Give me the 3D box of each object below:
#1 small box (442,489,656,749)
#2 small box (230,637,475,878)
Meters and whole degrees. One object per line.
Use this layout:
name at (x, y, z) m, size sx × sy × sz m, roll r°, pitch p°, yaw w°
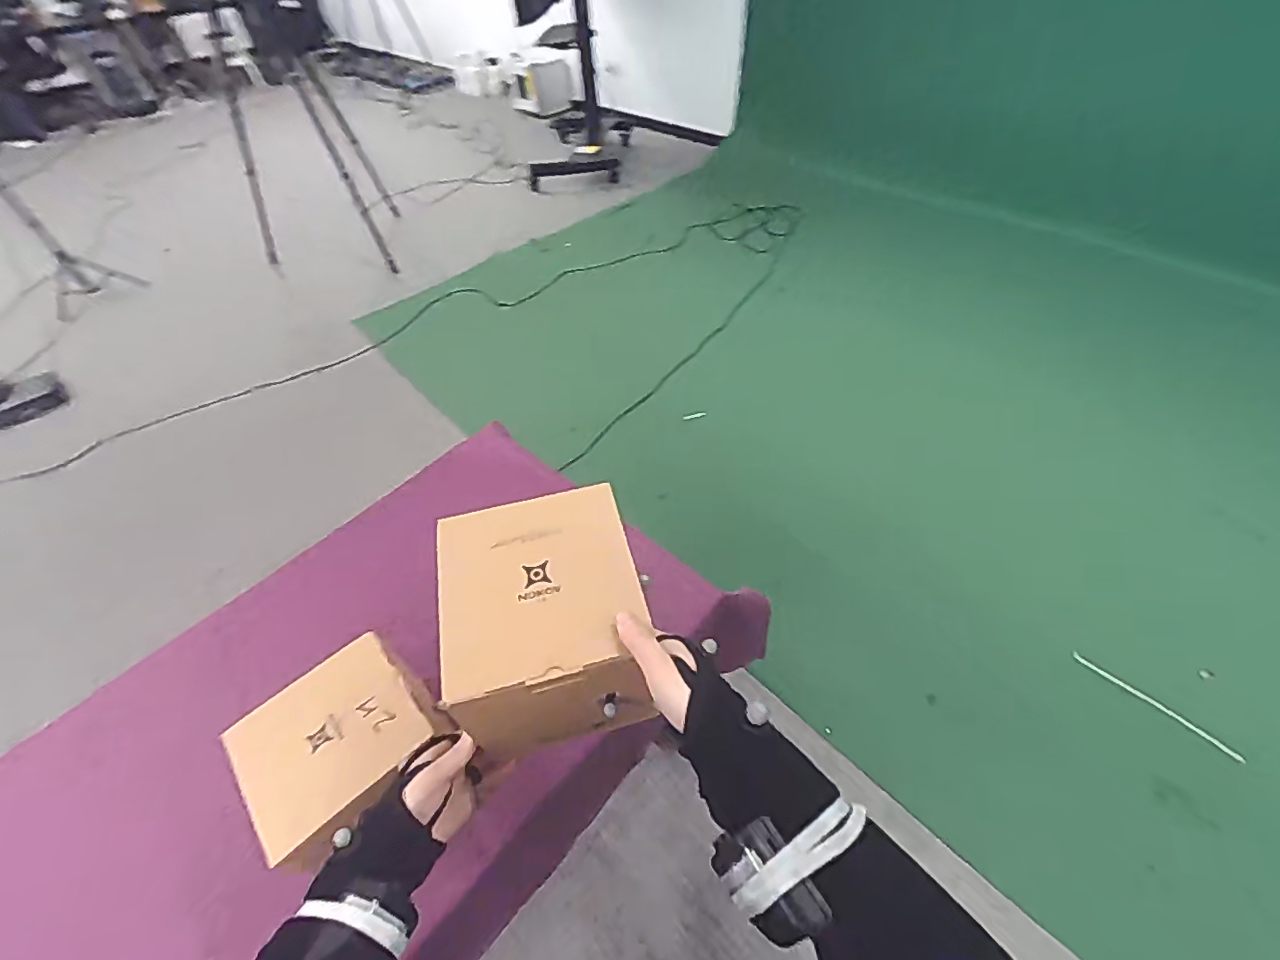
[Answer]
small box at (-0.083, 0.140, 0.523) m, size 0.168 × 0.176 × 0.179 m, roll -12°, pitch 50°, yaw -7°
small box at (-0.329, 0.332, 0.645) m, size 0.179 × 0.176 × 0.168 m, roll -36°, pitch 56°, yaw -24°
